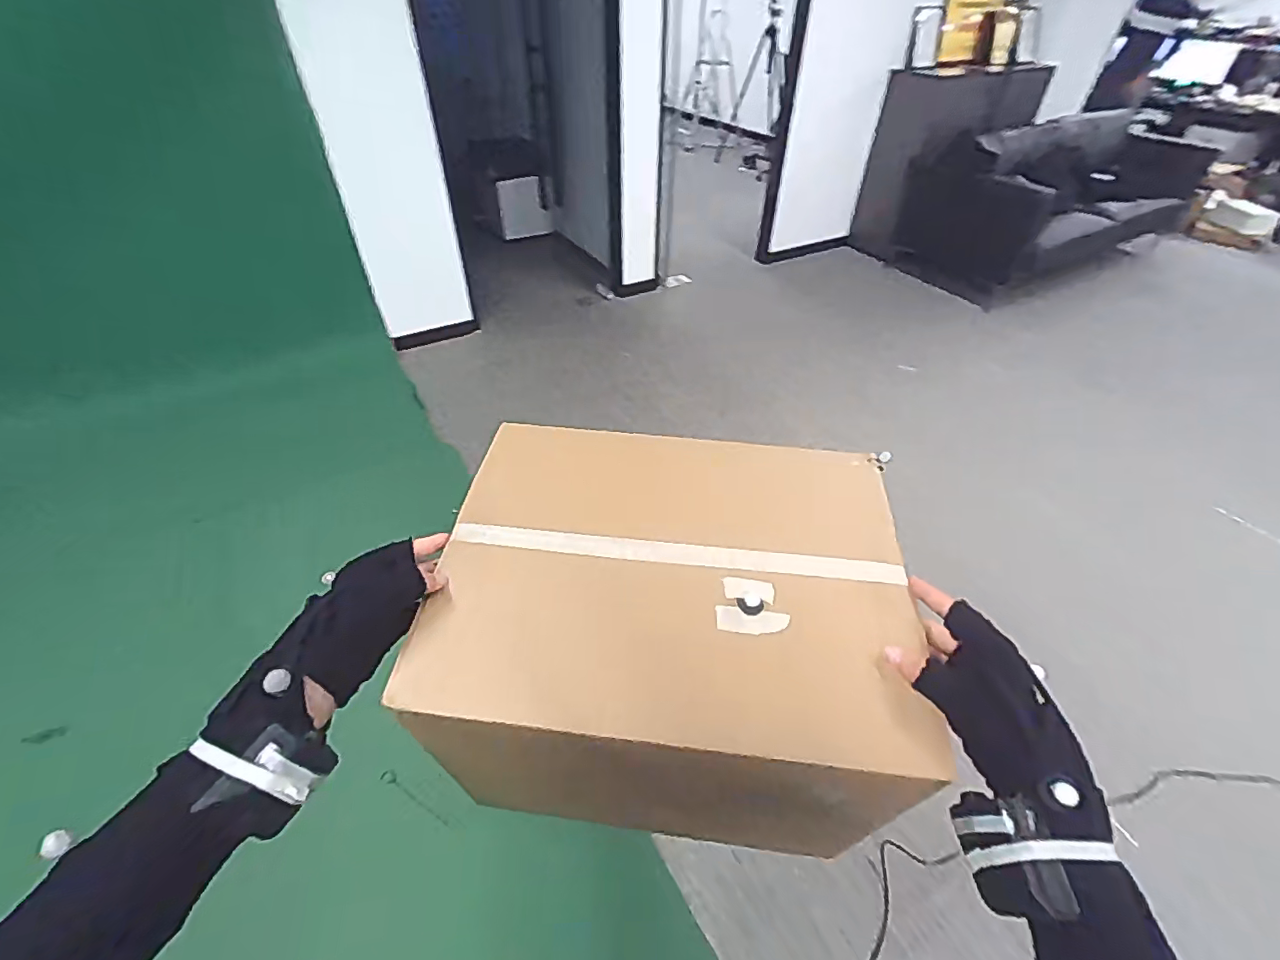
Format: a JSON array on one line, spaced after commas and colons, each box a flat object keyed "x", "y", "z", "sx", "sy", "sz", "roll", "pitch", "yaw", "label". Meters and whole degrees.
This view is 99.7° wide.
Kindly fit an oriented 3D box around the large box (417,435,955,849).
[{"x": 0.039, "y": 0.178, "z": 0.601, "sx": 0.408, "sy": 0.320, "sz": 0.320, "roll": 6, "pitch": 48, "yaw": 4, "label": "large box"}]
